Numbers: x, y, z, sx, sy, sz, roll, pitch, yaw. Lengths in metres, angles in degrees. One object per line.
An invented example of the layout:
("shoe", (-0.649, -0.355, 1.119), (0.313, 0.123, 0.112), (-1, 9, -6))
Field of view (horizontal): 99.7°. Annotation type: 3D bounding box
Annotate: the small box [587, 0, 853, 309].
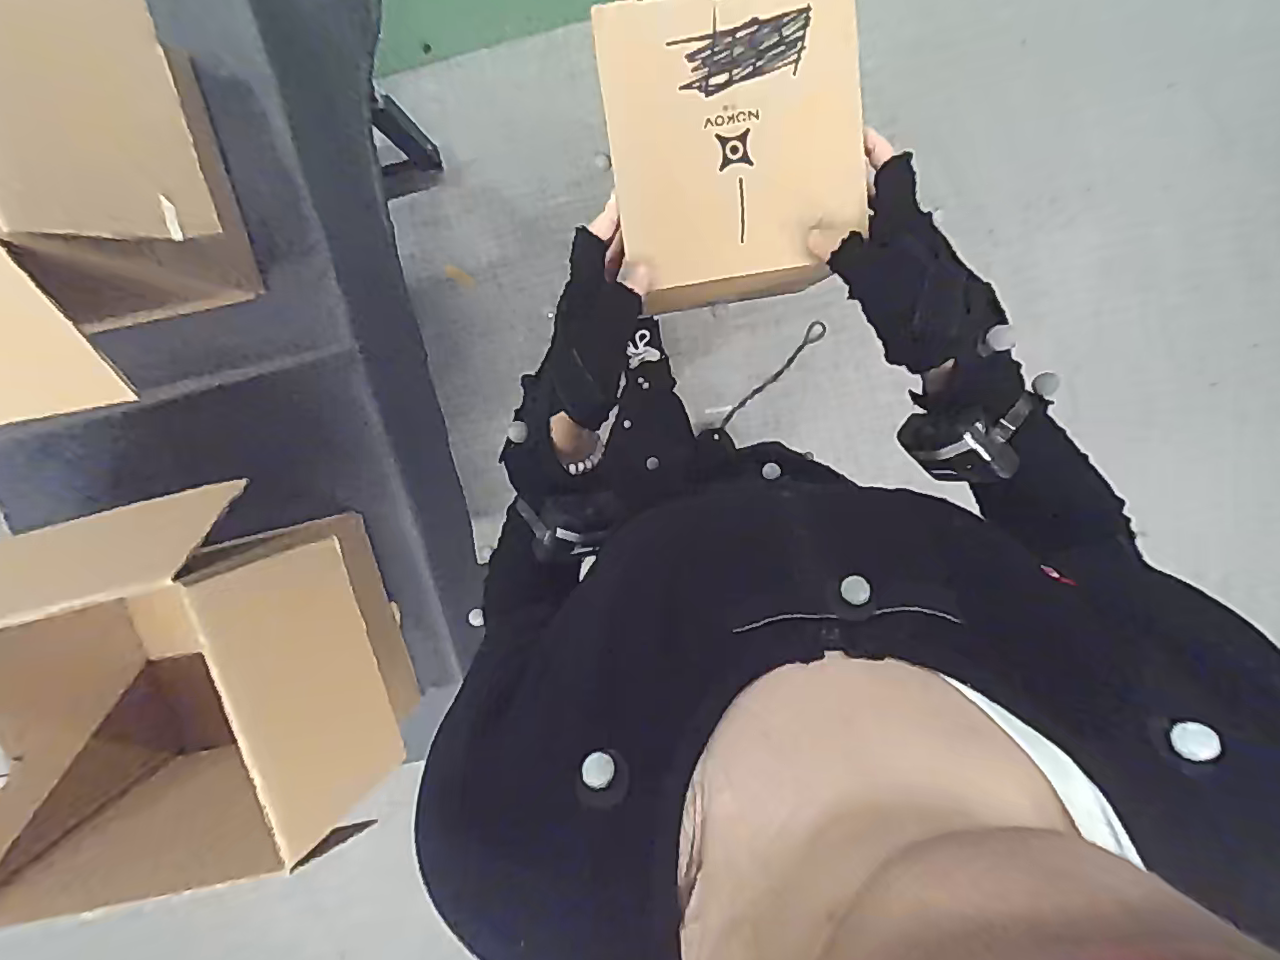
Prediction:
("small box", (0.055, -0.247, 0.436), (0.168, 0.176, 0.179), (-8, 101, 2))
